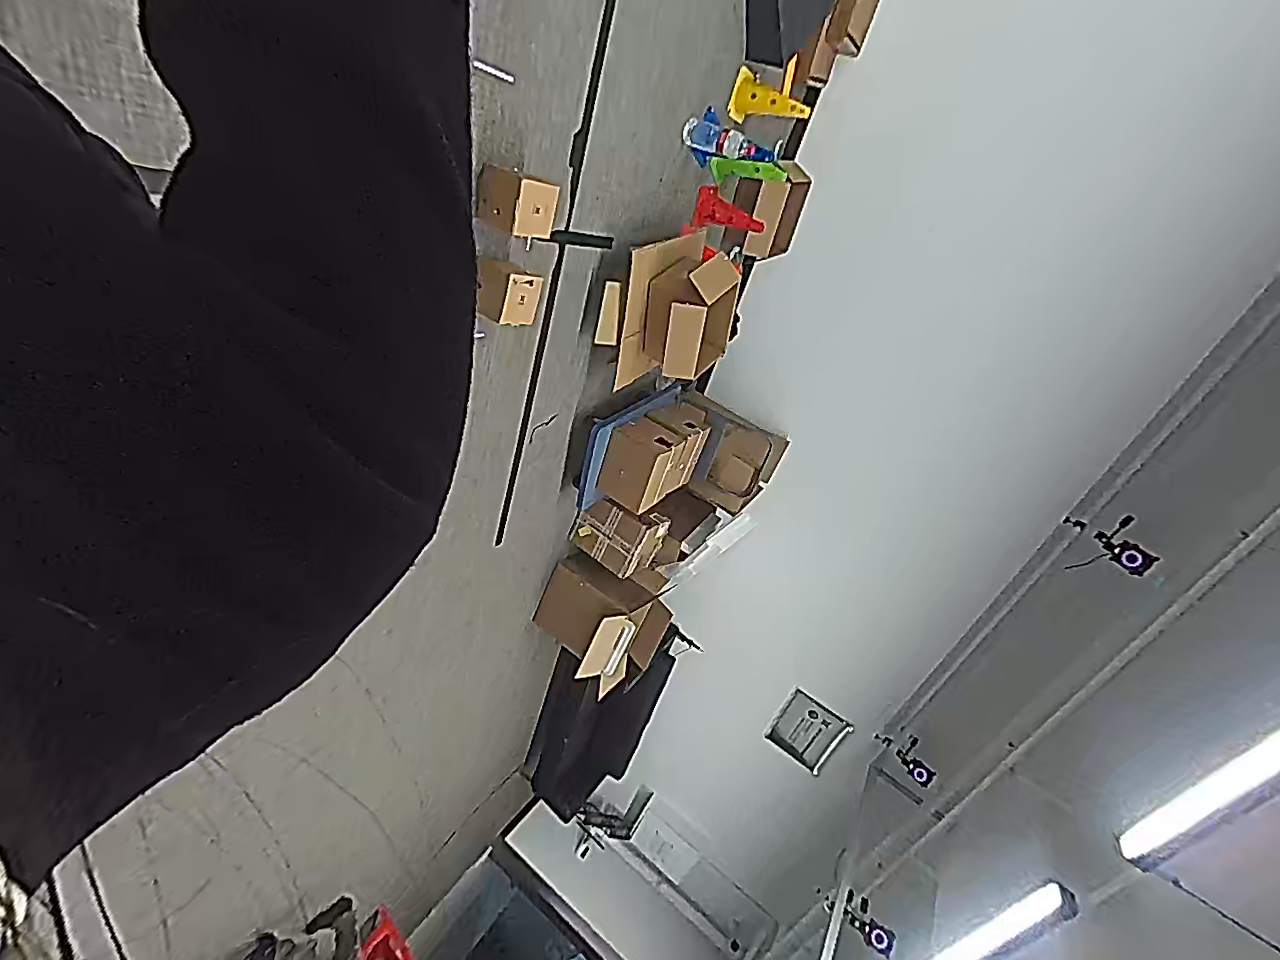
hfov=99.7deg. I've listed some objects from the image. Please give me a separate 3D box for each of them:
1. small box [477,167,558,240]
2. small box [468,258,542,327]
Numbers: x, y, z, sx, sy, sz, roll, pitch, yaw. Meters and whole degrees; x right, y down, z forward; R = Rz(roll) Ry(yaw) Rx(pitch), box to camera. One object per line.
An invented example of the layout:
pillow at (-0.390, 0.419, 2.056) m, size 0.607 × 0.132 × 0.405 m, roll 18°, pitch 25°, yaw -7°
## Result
small box at (-0.398, -0.889, 1.741) m, size 0.179 × 0.176 × 0.168 m, roll -31°, pitch 148°, yaw -53°
small box at (-0.477, -0.652, 1.893) m, size 0.168 × 0.176 × 0.179 m, roll -24°, pitch 141°, yaw -57°
